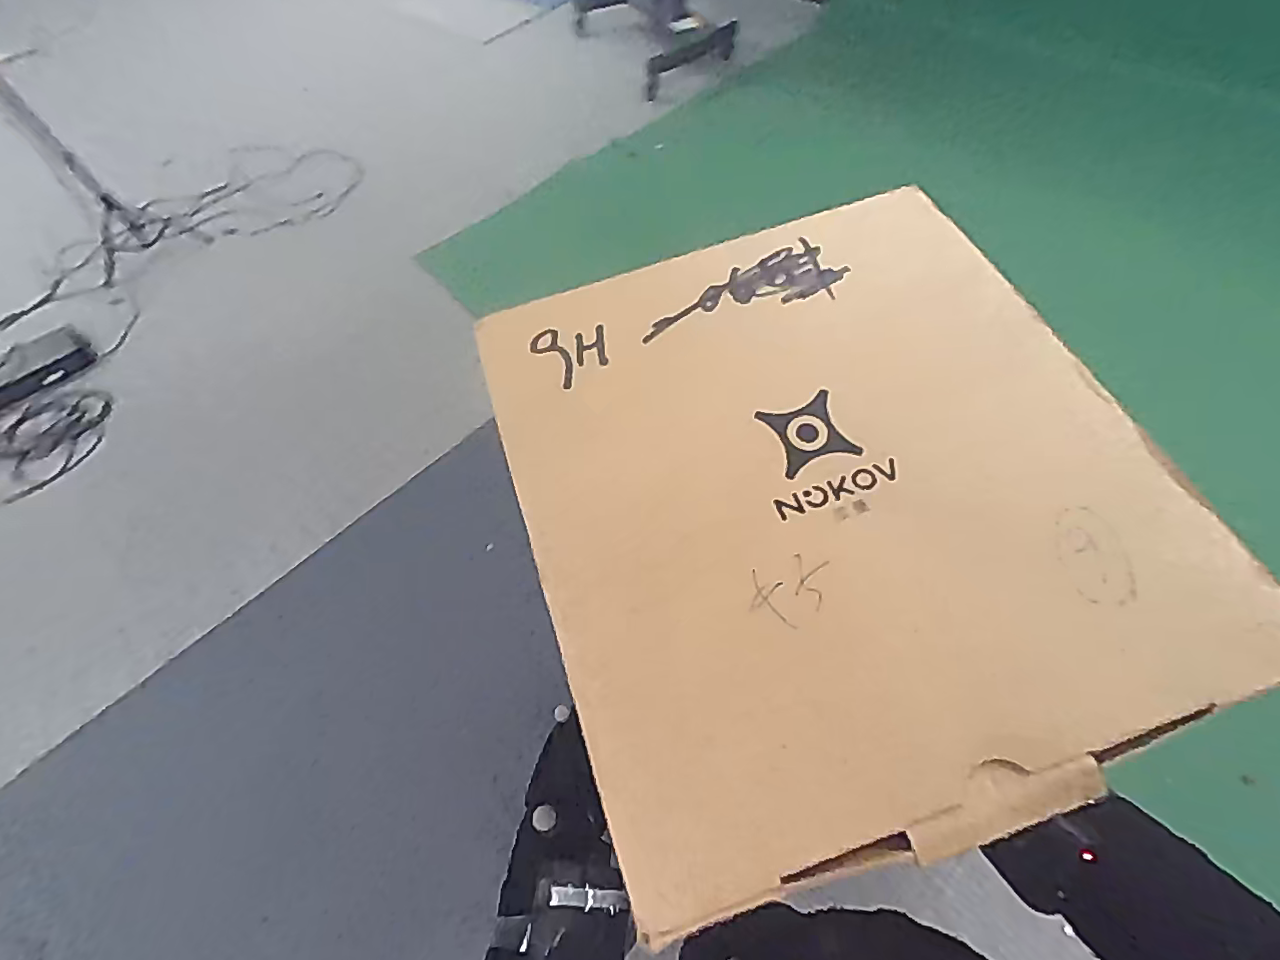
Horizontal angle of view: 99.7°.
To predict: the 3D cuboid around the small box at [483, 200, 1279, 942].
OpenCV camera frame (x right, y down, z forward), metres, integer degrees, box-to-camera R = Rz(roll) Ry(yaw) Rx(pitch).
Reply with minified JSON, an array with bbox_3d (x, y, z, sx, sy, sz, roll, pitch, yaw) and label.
[{"bbox_3d":[0.054,0.031,0.226,0.168,0.176,0.179,-17,67,-4],"label":"small box"}]
